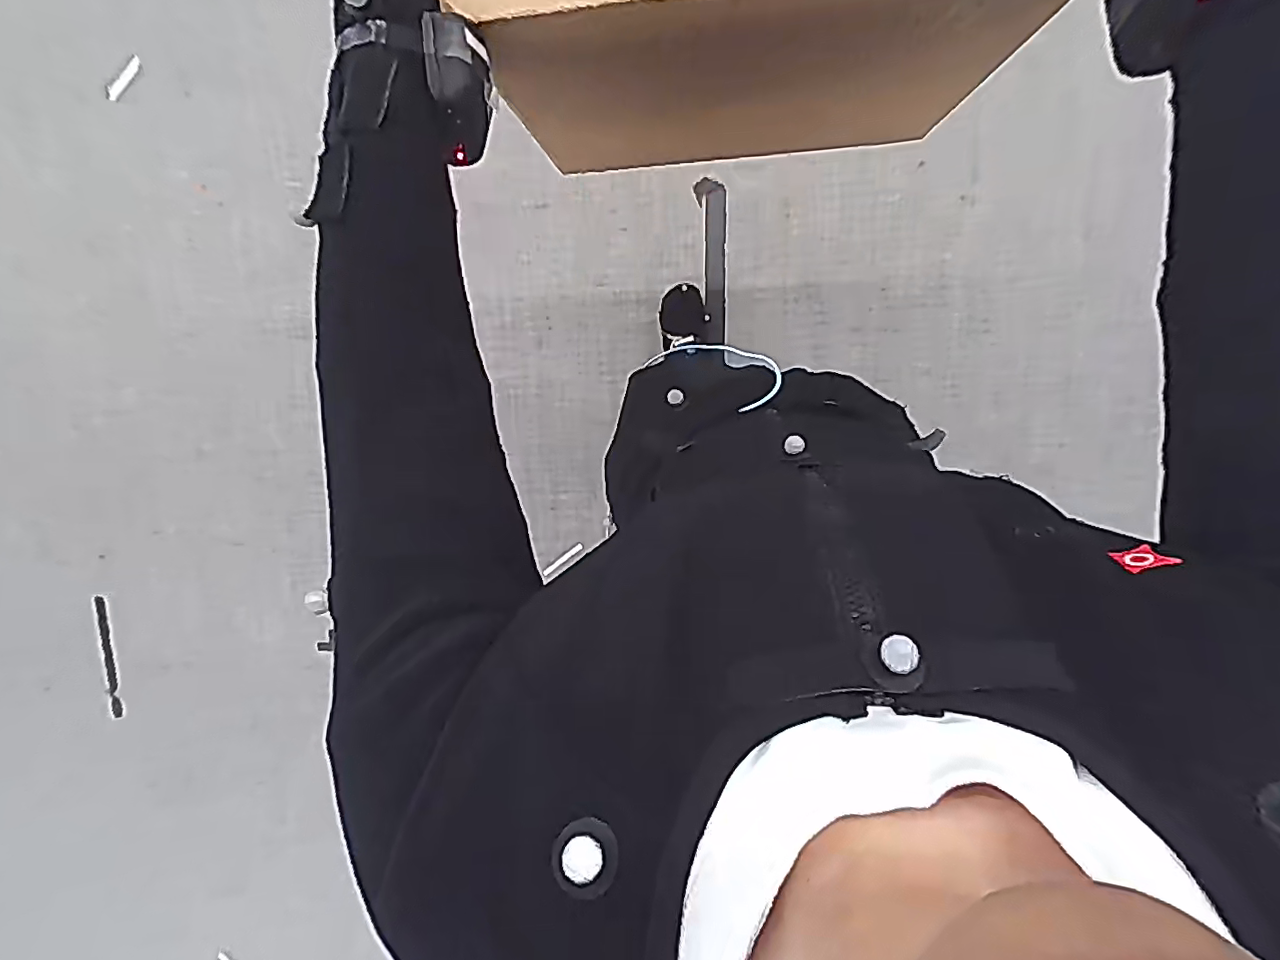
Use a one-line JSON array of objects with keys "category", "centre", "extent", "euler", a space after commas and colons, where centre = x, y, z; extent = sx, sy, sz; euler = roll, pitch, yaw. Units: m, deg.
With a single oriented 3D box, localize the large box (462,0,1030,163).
[{"category": "large box", "centre": [0.081, -0.492, 0.433], "extent": [0.408, 0.320, 0.320], "euler": [-3, 104, 6]}]
